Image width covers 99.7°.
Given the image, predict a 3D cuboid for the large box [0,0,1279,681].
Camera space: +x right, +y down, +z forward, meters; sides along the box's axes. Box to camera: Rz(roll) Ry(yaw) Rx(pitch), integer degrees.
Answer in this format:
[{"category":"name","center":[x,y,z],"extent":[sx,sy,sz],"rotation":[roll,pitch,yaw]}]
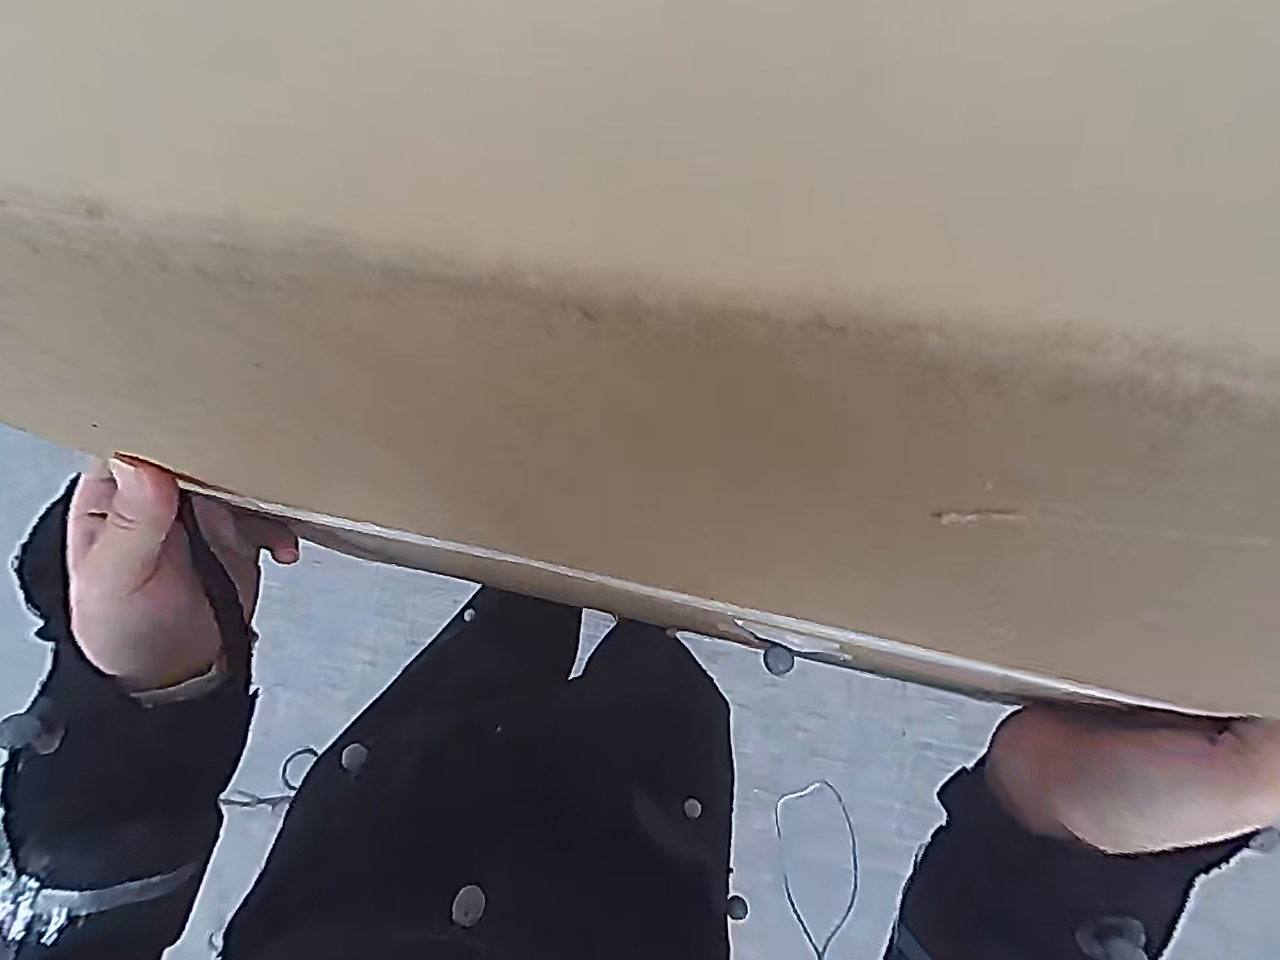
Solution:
[{"category":"large box","center":[0.026,-0.118,0.247],"extent":[0.408,0.320,0.320],"rotation":[10,71,9]}]
